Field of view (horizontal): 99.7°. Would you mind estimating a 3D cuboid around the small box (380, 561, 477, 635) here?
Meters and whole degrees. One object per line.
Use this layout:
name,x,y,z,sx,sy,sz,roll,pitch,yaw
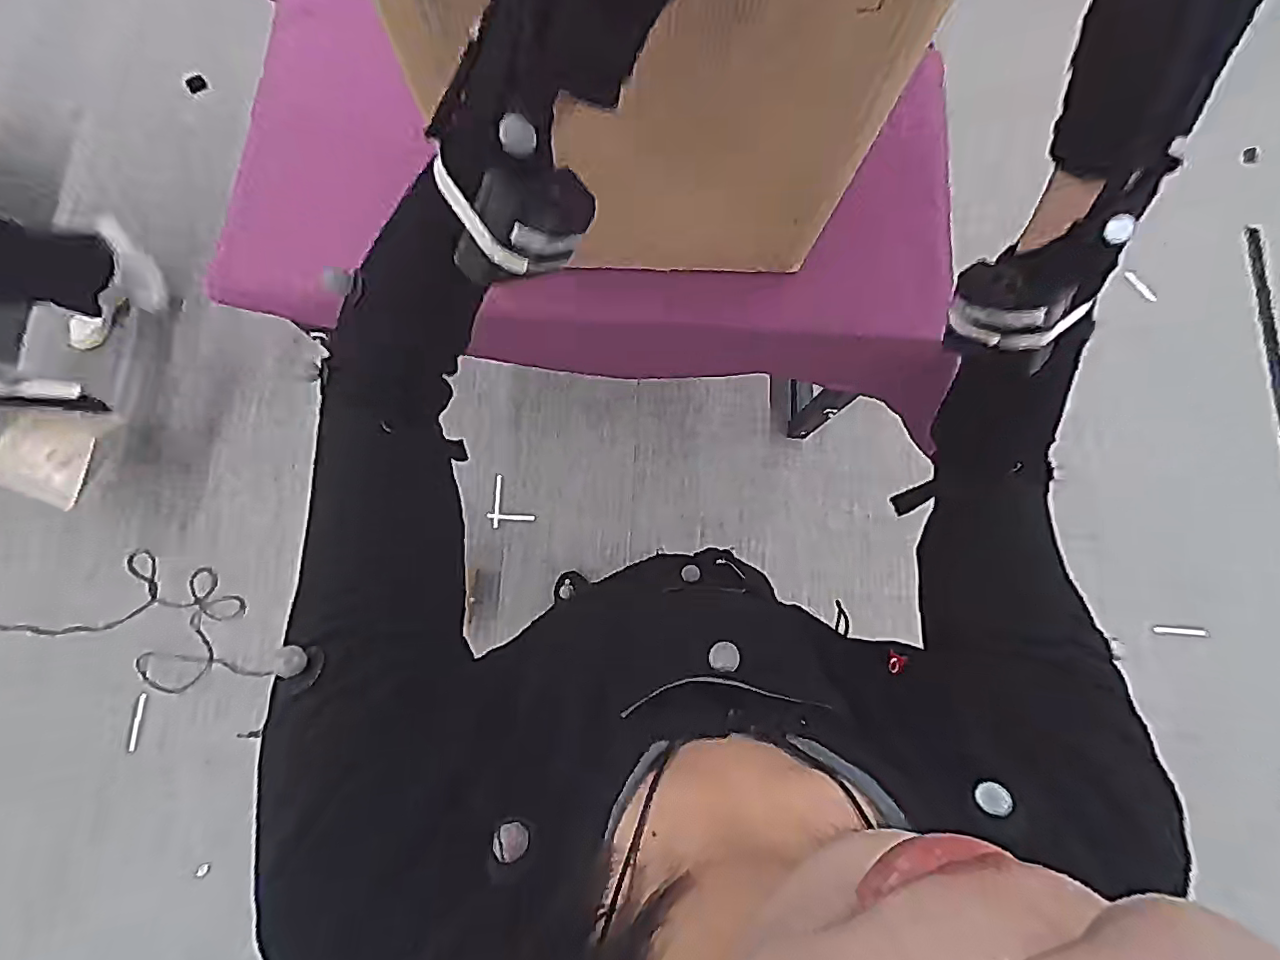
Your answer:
small box,-0.542,0.307,1.408,0.179,0.176,0.168,6,79,-1
